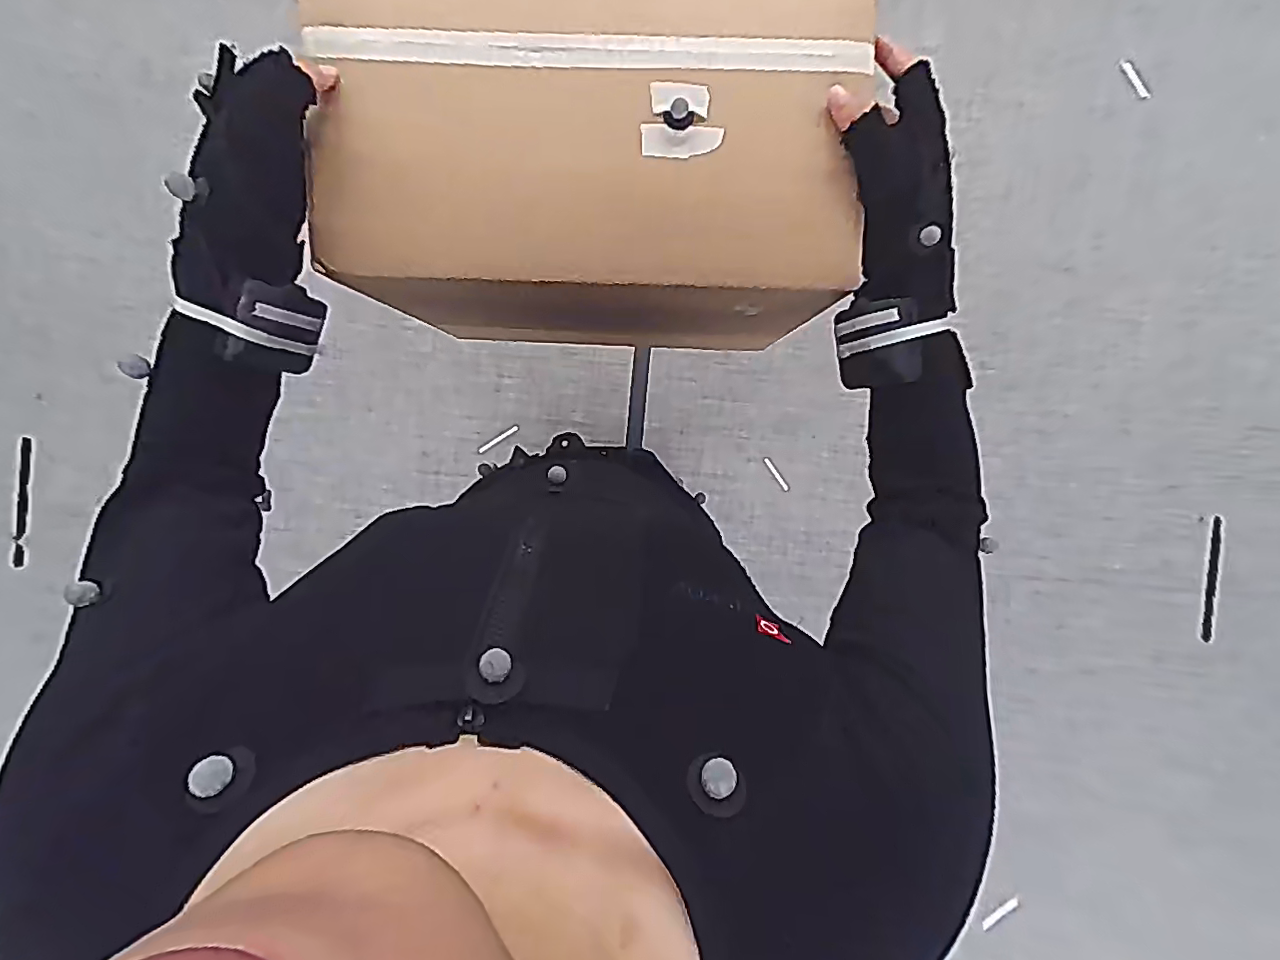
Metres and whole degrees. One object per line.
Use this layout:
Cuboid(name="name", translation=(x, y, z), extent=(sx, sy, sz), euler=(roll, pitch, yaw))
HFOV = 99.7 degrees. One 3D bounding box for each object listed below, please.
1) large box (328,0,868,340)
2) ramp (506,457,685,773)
Cuboid(name="large box", translation=(-0.034, -0.325, 0.548), extent=(0.408, 0.320, 0.320), euler=(2, 96, 0))
Cuboid(name="ramp", translation=(-0.148, 0.434, 1.603), extent=(0.509, 0.206, 0.991), euler=(2, 93, -1))
